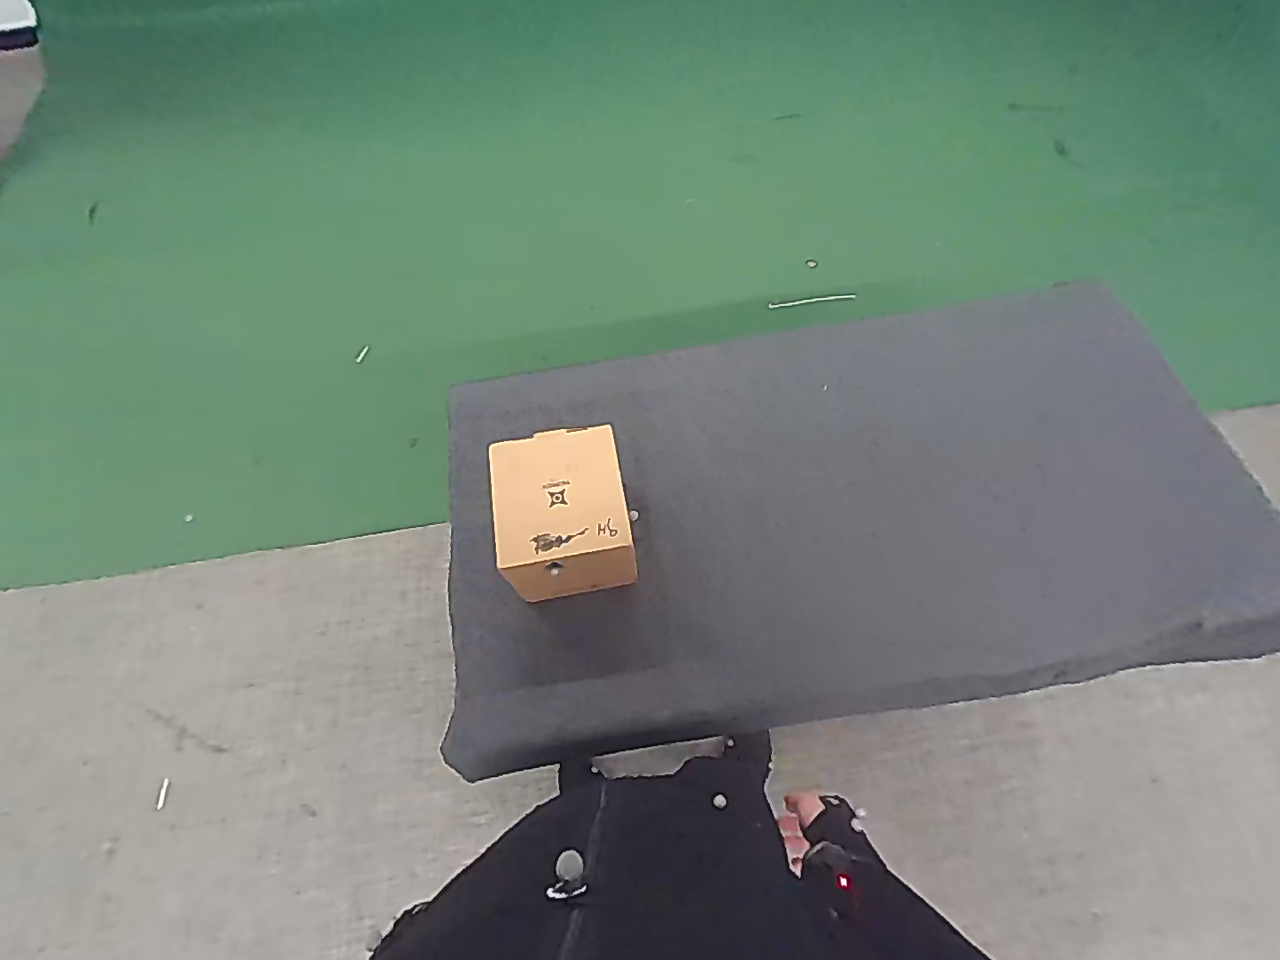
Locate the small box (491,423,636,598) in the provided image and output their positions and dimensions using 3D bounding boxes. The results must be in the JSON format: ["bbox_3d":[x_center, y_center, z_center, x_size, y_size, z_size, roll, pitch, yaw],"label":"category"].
[{"bbox_3d":[-0.101,0.047,0.750,0.168,0.176,0.179,-10,64,-2],"label":"small box"}]
